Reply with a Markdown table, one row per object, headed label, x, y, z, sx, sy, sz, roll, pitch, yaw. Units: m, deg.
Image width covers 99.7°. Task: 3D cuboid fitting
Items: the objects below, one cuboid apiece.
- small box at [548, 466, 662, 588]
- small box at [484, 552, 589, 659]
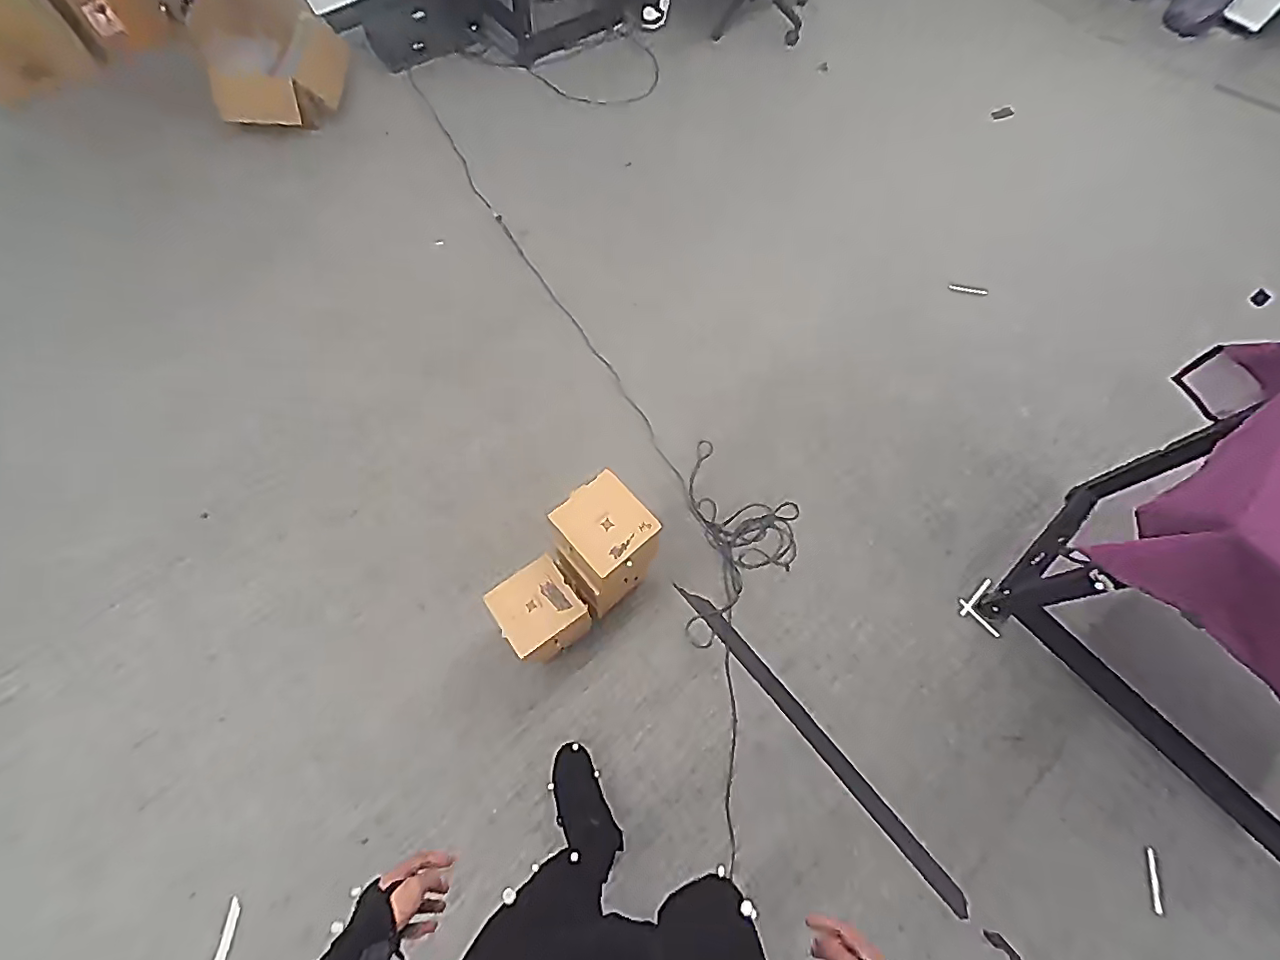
| label | x | y | z | sx | sy | sz | roll | pitch | yaw |
| --- | --- | --- | --- | --- | --- | --- | --- | --- | --- |
| small box | -0.073 | 0.108 | 1.160 | 0.168 | 0.176 | 0.179 | -40 | 74 | -15 |
| small box | -0.232 | 0.295 | 1.255 | 0.179 | 0.176 | 0.168 | -34 | 73 | -13 |
